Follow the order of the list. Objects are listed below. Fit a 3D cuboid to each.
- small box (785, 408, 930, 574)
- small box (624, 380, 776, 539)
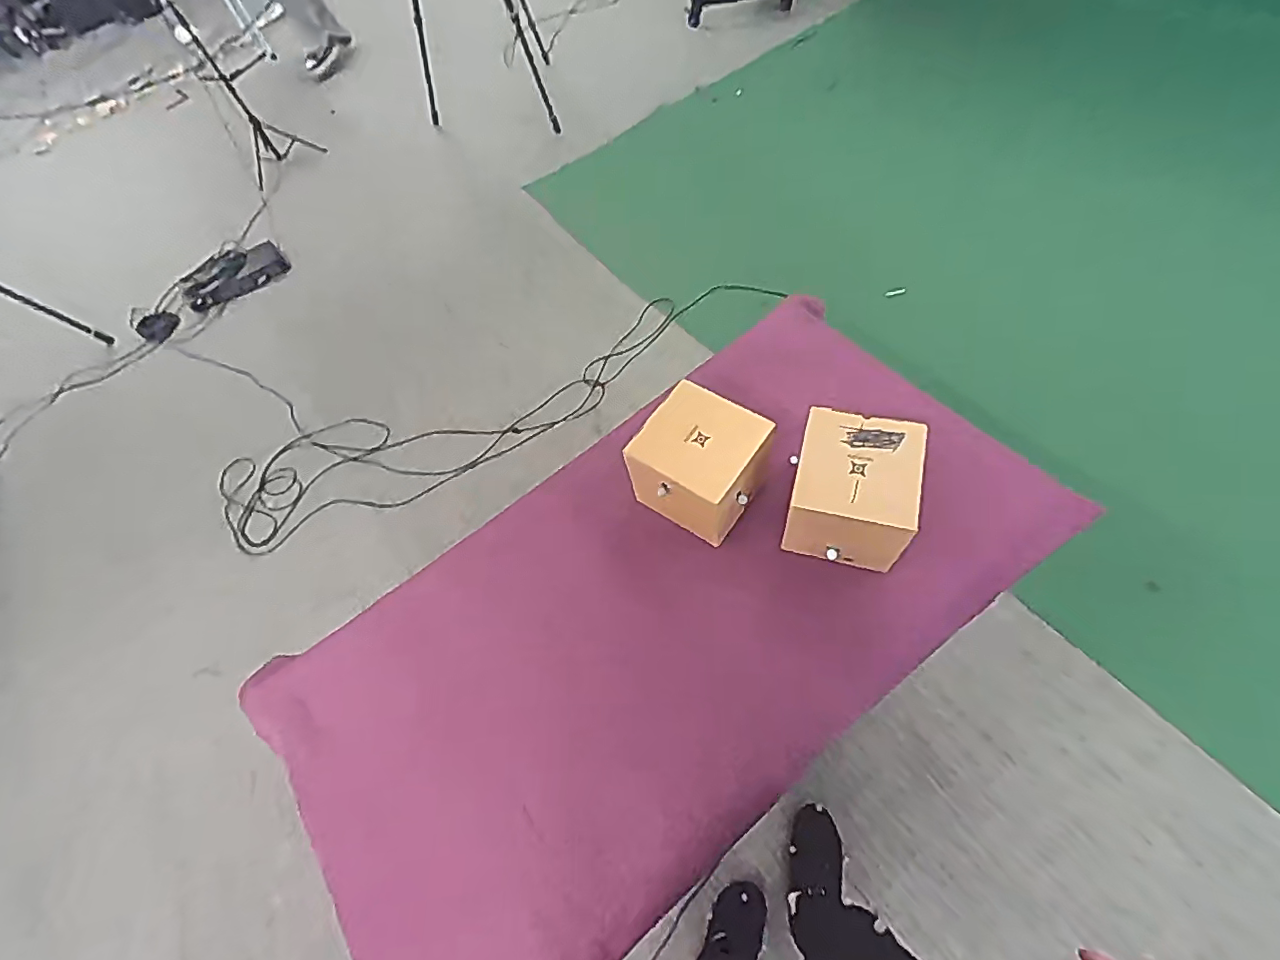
[{"bbox_3d":[0.322,0.020,0.825,0.168,0.176,0.179,12,65,16],"label":"small box"},{"bbox_3d":[0.102,-0.025,0.887,0.179,0.176,0.168,31,70,23],"label":"small box"}]
